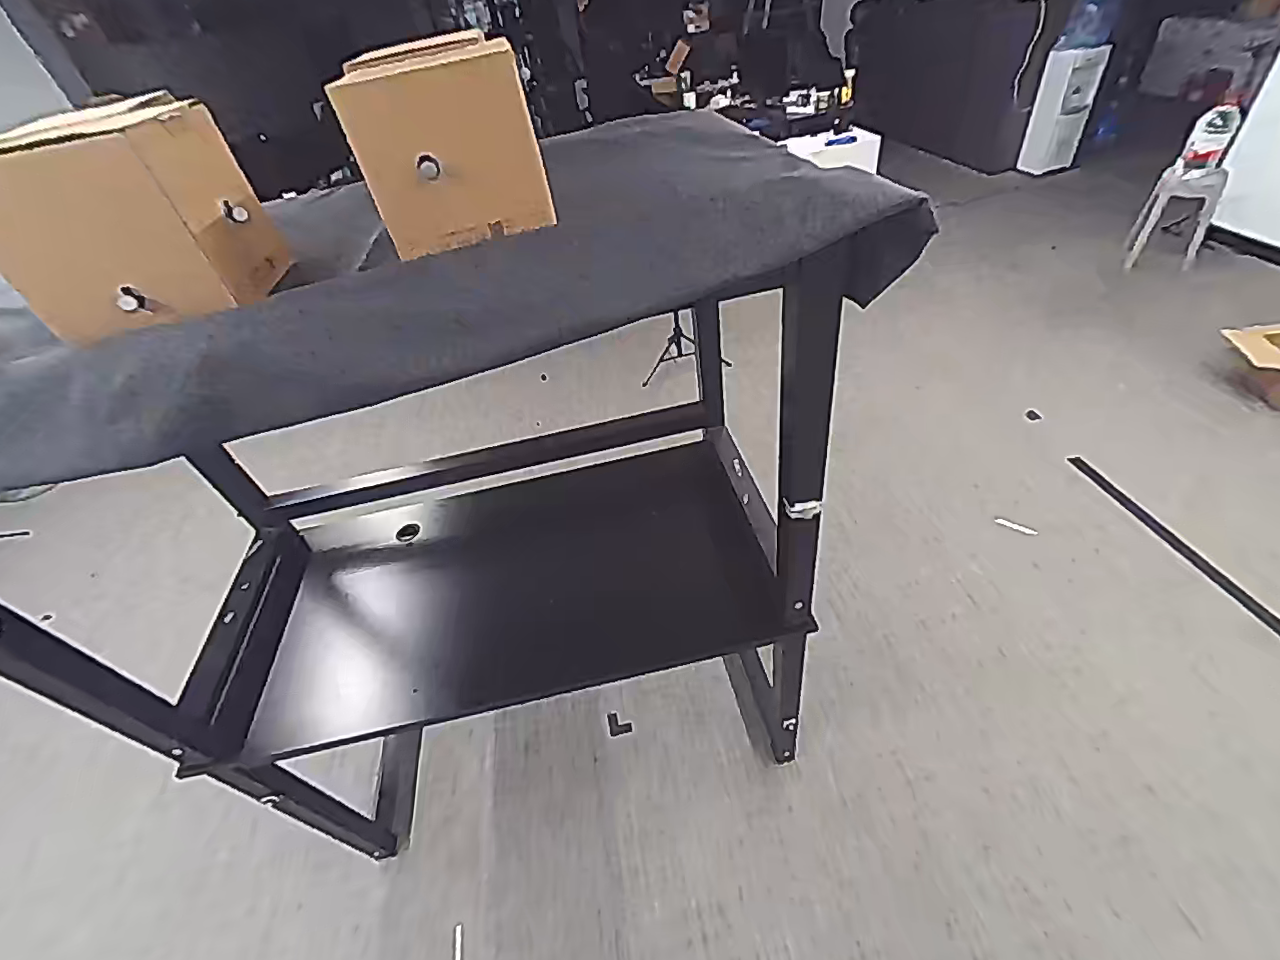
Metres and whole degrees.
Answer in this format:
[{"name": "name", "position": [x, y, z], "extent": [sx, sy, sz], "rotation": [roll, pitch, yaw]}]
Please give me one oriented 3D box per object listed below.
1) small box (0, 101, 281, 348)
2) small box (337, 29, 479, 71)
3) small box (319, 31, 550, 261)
[{"name": "small box", "position": [-0.508, -0.255, 0.542], "extent": [0.179, 0.176, 0.168], "rotation": [-13, 41, -3]}, {"name": "small box", "position": [-0.295, -0.528, 0.785], "extent": [0.179, 0.176, 0.168], "rotation": [-14, 43, -2]}, {"name": "small box", "position": [-0.200, -0.351, 0.577], "extent": [0.168, 0.176, 0.179], "rotation": [-15, 42, -3]}]
